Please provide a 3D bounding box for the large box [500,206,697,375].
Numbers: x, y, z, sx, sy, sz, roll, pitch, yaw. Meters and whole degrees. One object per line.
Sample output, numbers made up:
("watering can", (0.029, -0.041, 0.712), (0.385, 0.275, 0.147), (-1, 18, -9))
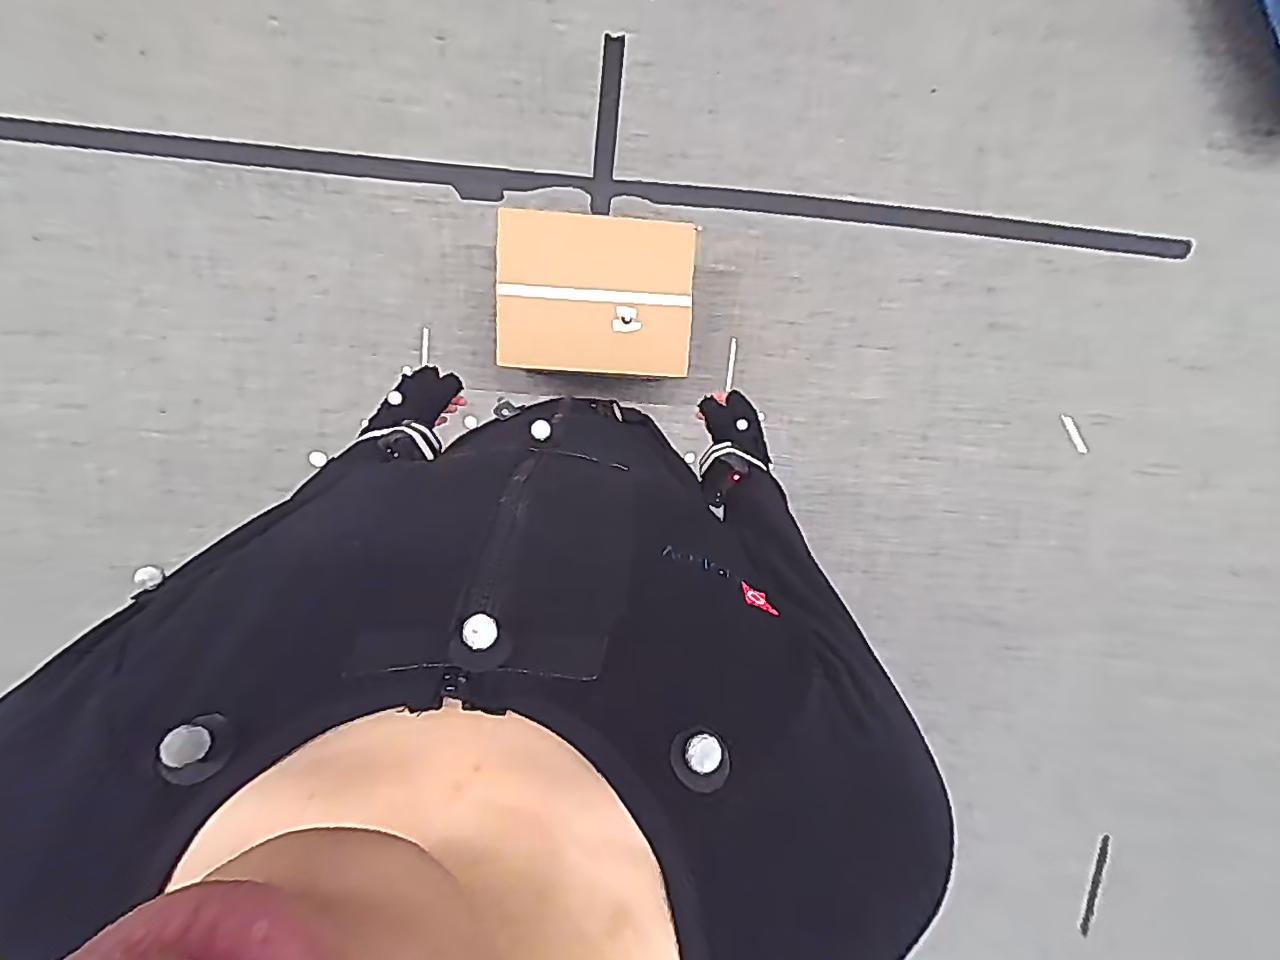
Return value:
("large box", (-0.101, -0.413, 1.263), (0.408, 0.320, 0.320), (2, 100, -5))
